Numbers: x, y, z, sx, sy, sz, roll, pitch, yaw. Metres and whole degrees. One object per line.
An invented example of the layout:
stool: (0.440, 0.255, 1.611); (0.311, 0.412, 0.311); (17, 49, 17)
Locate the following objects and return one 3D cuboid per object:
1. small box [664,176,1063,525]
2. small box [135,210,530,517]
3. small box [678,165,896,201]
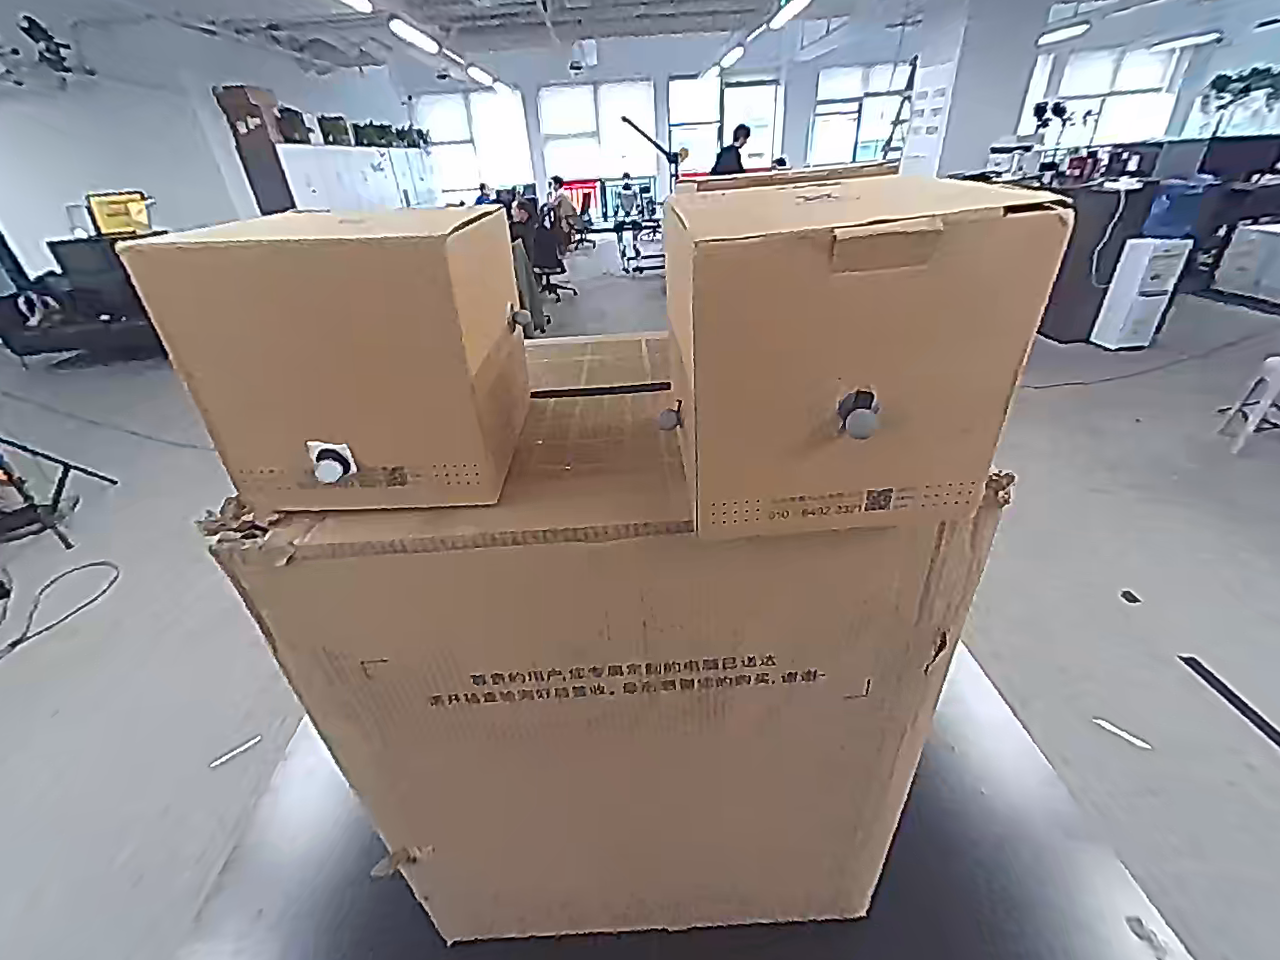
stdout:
small box: (0.107, -0.083, 0.346); (0.168, 0.176, 0.179); (-5, 34, 1)
small box: (-0.178, -0.090, 0.387); (0.168, 0.176, 0.179); (-3, 32, -1)
small box: (0.129, -0.211, 0.546); (0.168, 0.176, 0.179); (-6, 28, 0)
